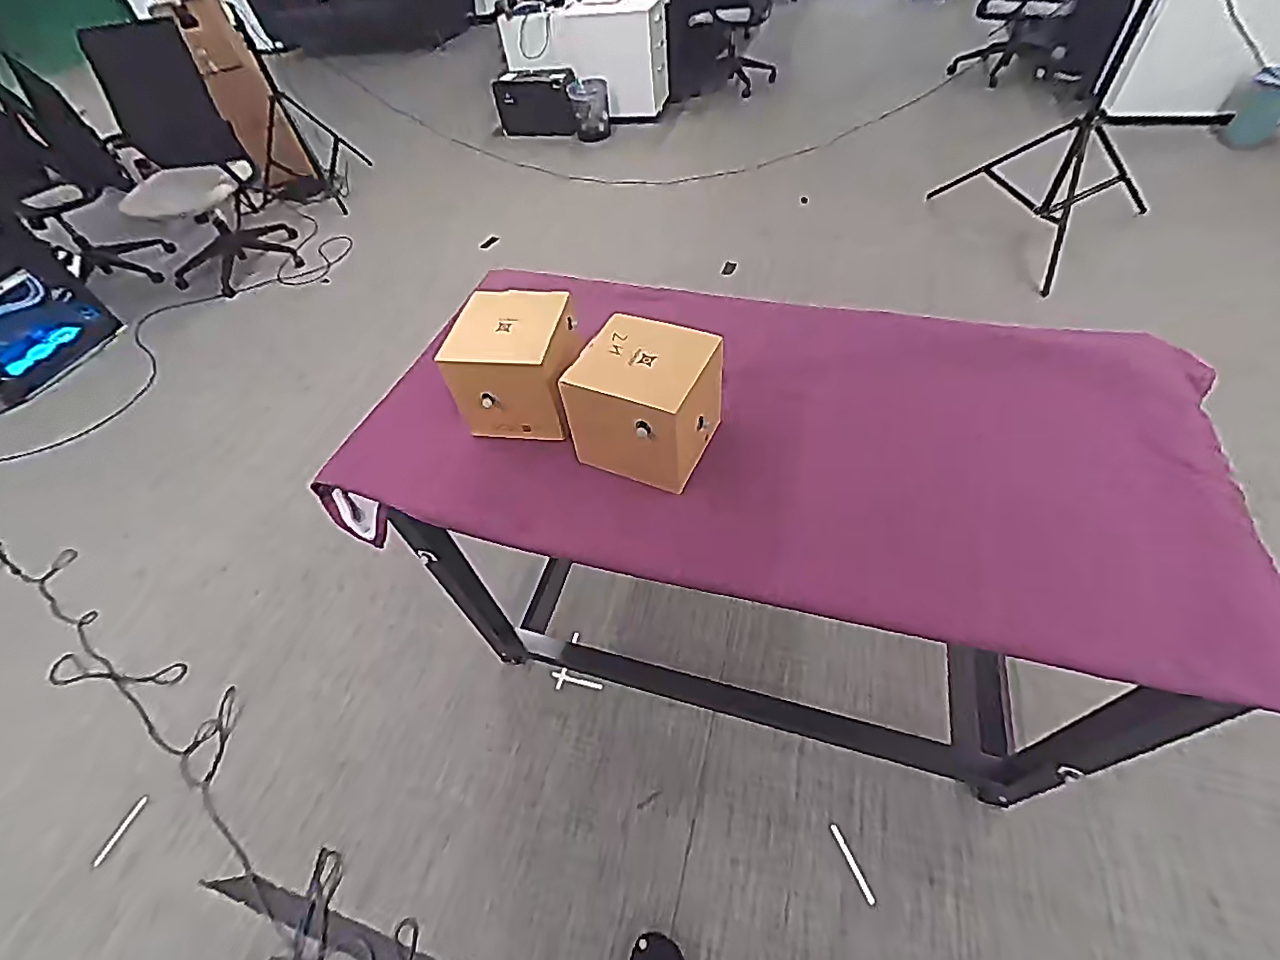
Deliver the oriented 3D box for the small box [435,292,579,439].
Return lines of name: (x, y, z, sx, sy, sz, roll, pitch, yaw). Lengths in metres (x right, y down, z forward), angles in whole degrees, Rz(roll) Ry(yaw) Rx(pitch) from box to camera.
small box: (-0.198, -0.184, 0.884, 0.168, 0.176, 0.179, 3, 52, 10)

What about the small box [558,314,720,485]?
small box: (0.008, -0.115, 0.802, 0.179, 0.176, 0.168, 18, 55, 20)
